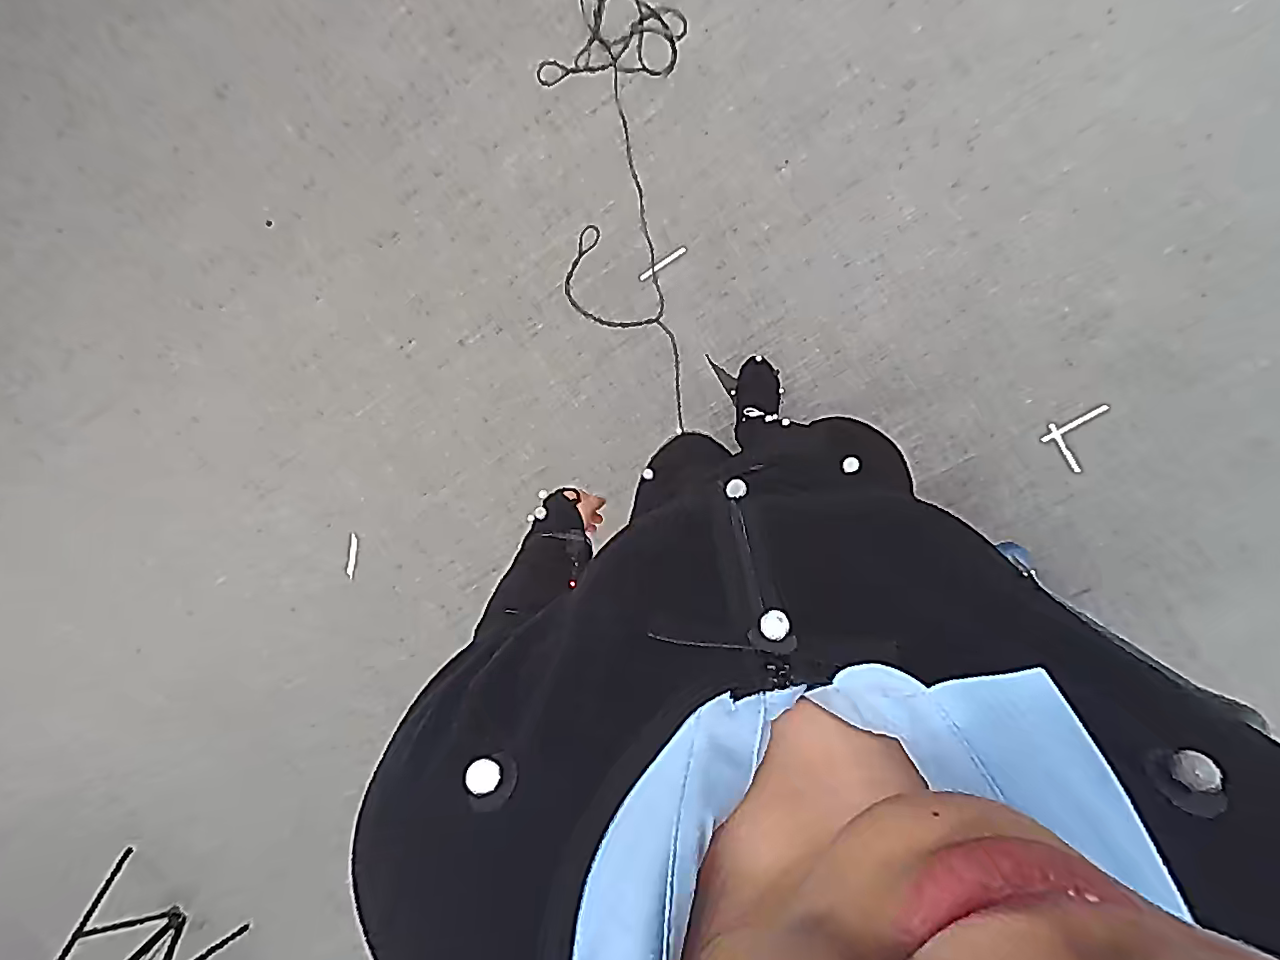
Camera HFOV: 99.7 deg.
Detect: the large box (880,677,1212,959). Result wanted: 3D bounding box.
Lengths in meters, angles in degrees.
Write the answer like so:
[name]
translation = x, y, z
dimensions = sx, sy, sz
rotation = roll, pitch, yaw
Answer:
[large box]
translation = 0.794, 0.685, 1.134
dimensions = 0.408, 0.320, 0.320
rotation = -28, 94, 13
